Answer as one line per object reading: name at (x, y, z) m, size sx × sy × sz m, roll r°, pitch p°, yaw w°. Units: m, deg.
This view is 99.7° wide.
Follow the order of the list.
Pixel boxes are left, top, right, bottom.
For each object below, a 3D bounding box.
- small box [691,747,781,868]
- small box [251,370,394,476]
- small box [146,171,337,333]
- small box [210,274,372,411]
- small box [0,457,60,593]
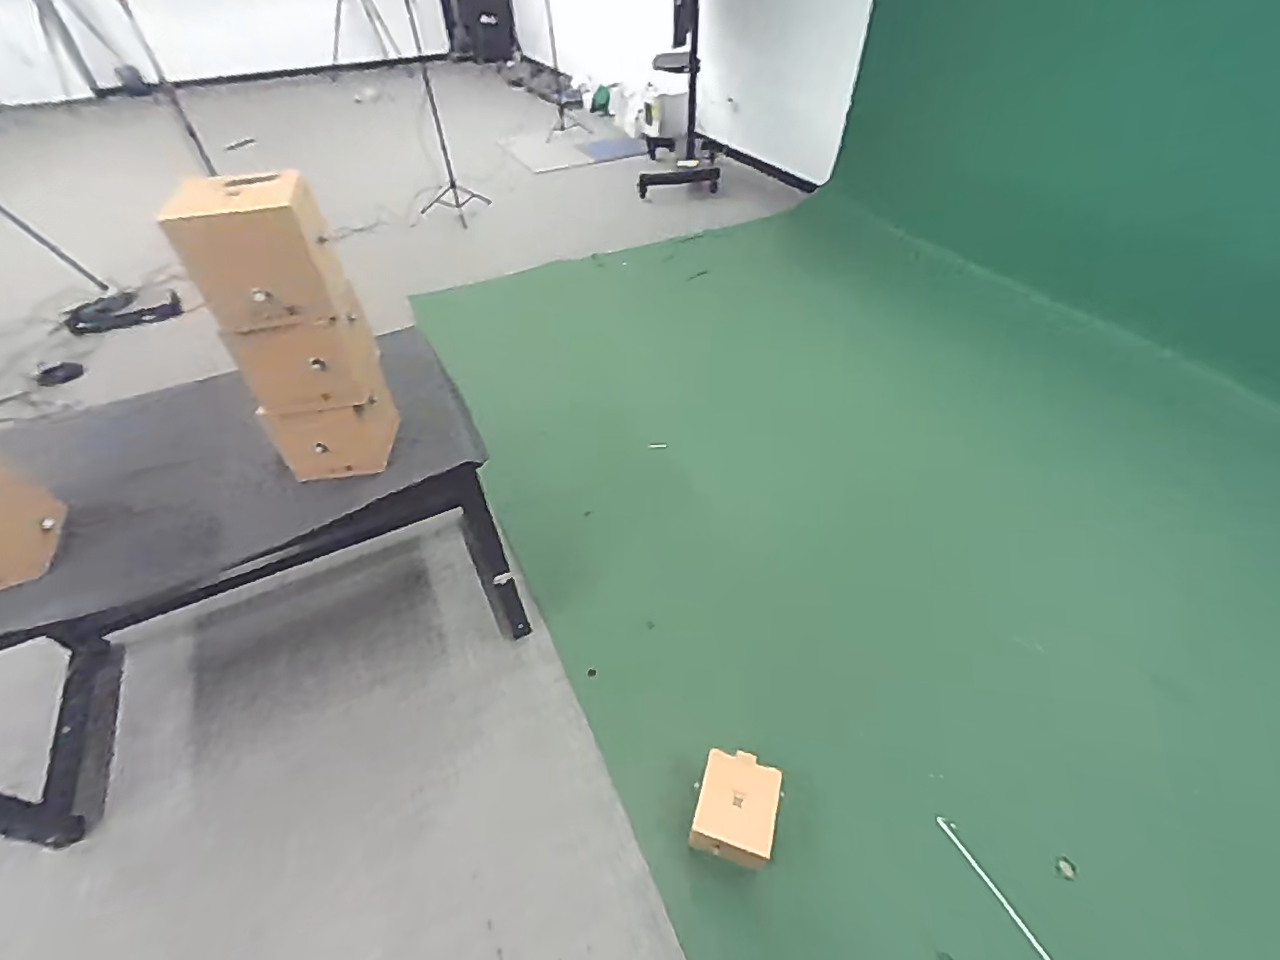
small box at (0.215, 0.744, 1.224) m, size 0.168 × 0.176 × 0.179 m, roll 13°, pitch 48°, yaw 14°
small box at (-0.603, -0.120, 1.056) m, size 0.168 × 0.176 × 0.179 m, roll -6°, pitch 44°, yaw -4°
small box at (-0.581, -0.347, 0.821) m, size 0.168 × 0.176 × 0.179 m, roll -14°, pitch 47°, yaw -12°
small box at (-0.586, -0.233, 0.940) m, size 0.168 × 0.176 × 0.179 m, roll -9°, pitch 45°, yaw -8°
small box at (-1.121, 0.085, 0.884) m, size 0.168 × 0.176 × 0.179 m, roll -22°, pitch 48°, yaw -18°
